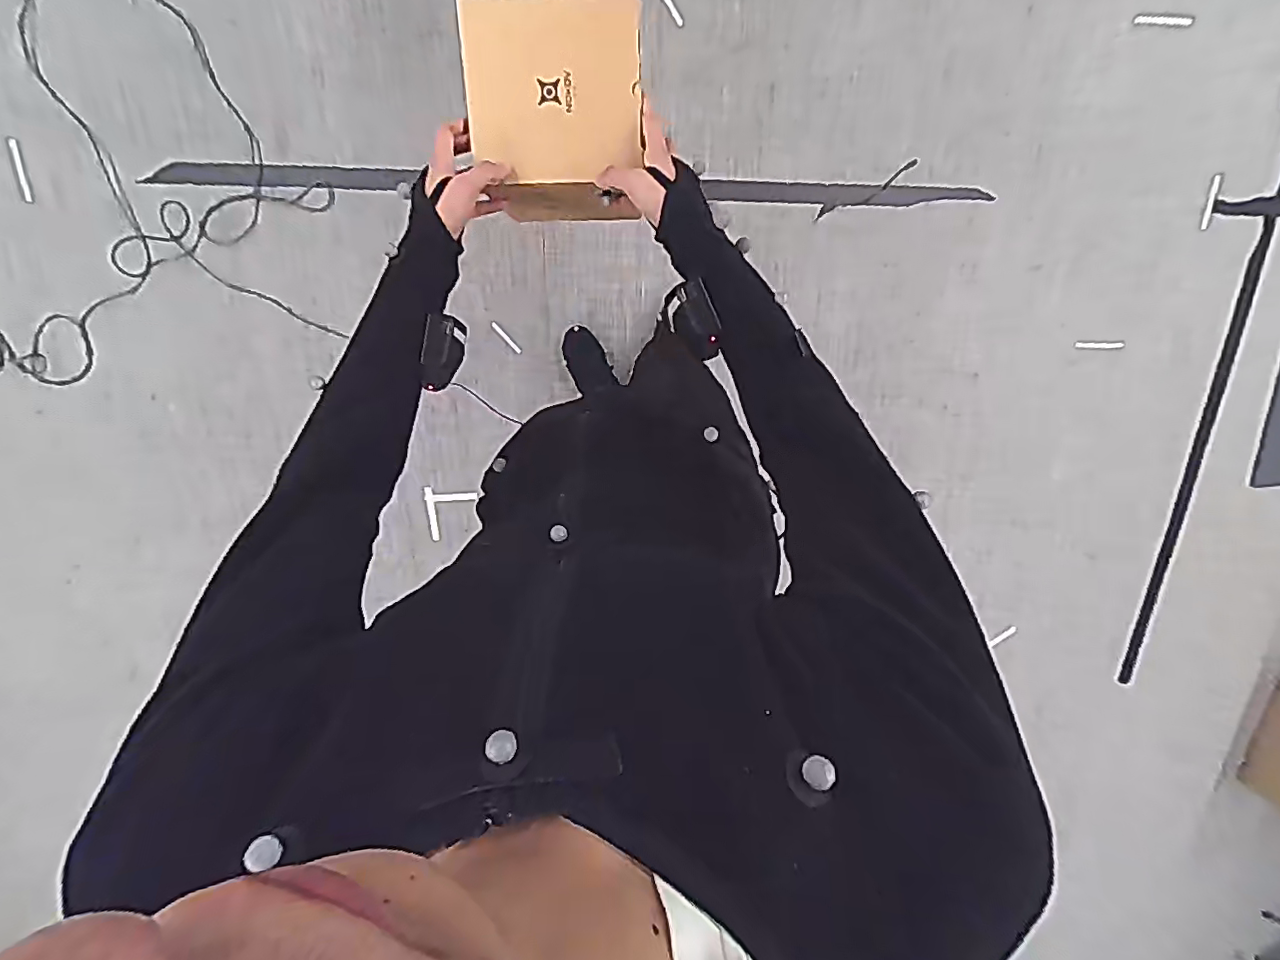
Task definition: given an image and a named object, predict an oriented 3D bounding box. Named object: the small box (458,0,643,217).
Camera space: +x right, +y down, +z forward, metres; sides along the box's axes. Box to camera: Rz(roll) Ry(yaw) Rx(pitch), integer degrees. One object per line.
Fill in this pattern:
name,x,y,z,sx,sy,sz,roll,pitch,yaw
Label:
small box,-0.086,-0.403,0.608,0.179,0.176,0.168,-2,104,-1
